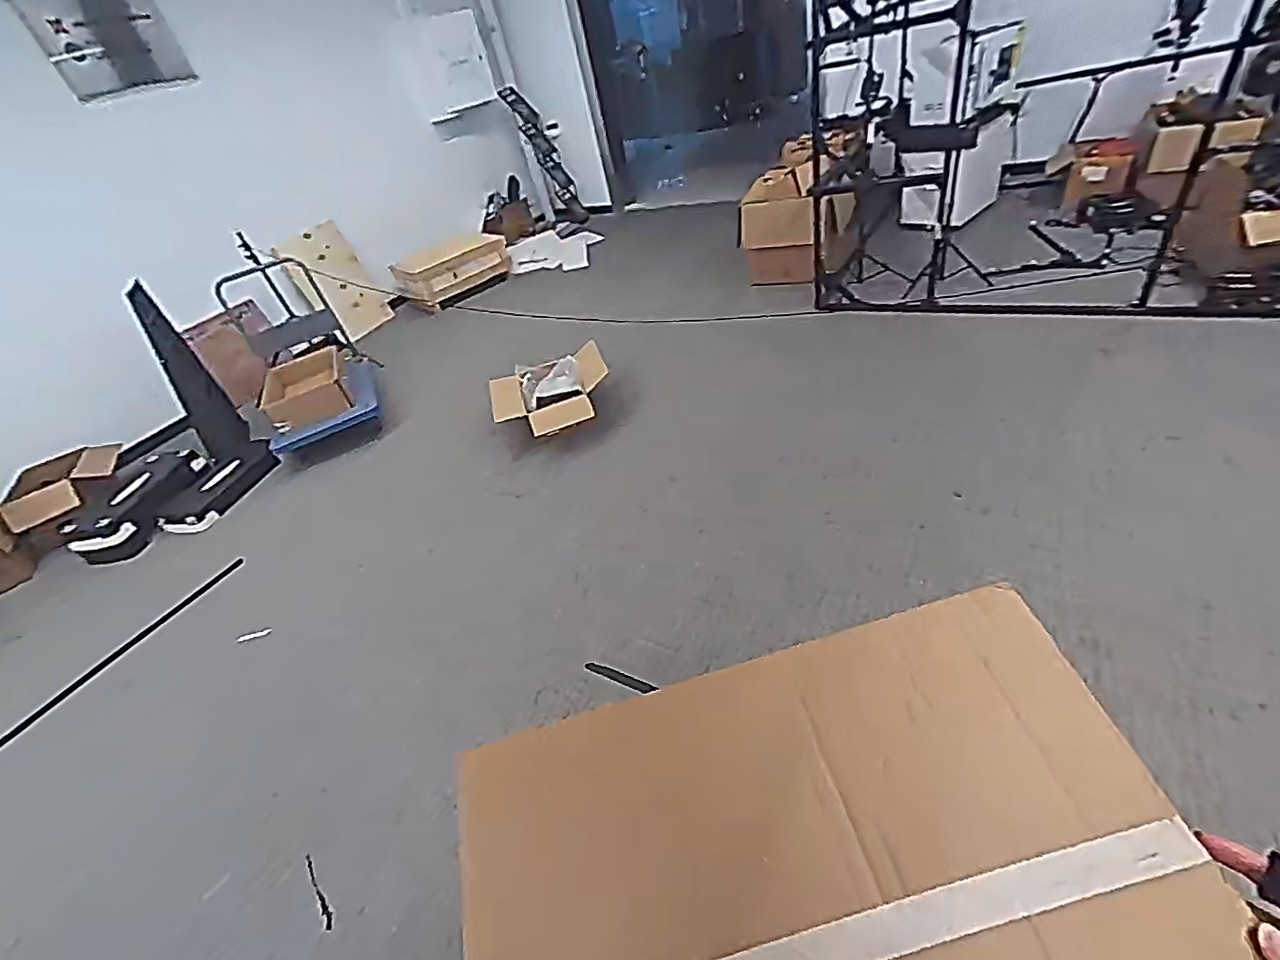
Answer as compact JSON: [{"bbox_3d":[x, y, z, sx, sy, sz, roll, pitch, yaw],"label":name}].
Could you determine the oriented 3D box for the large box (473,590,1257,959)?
[{"bbox_3d":[0.132,0.340,0.422,0.408,0.320,0.320,-18,56,1],"label":"large box"}]
